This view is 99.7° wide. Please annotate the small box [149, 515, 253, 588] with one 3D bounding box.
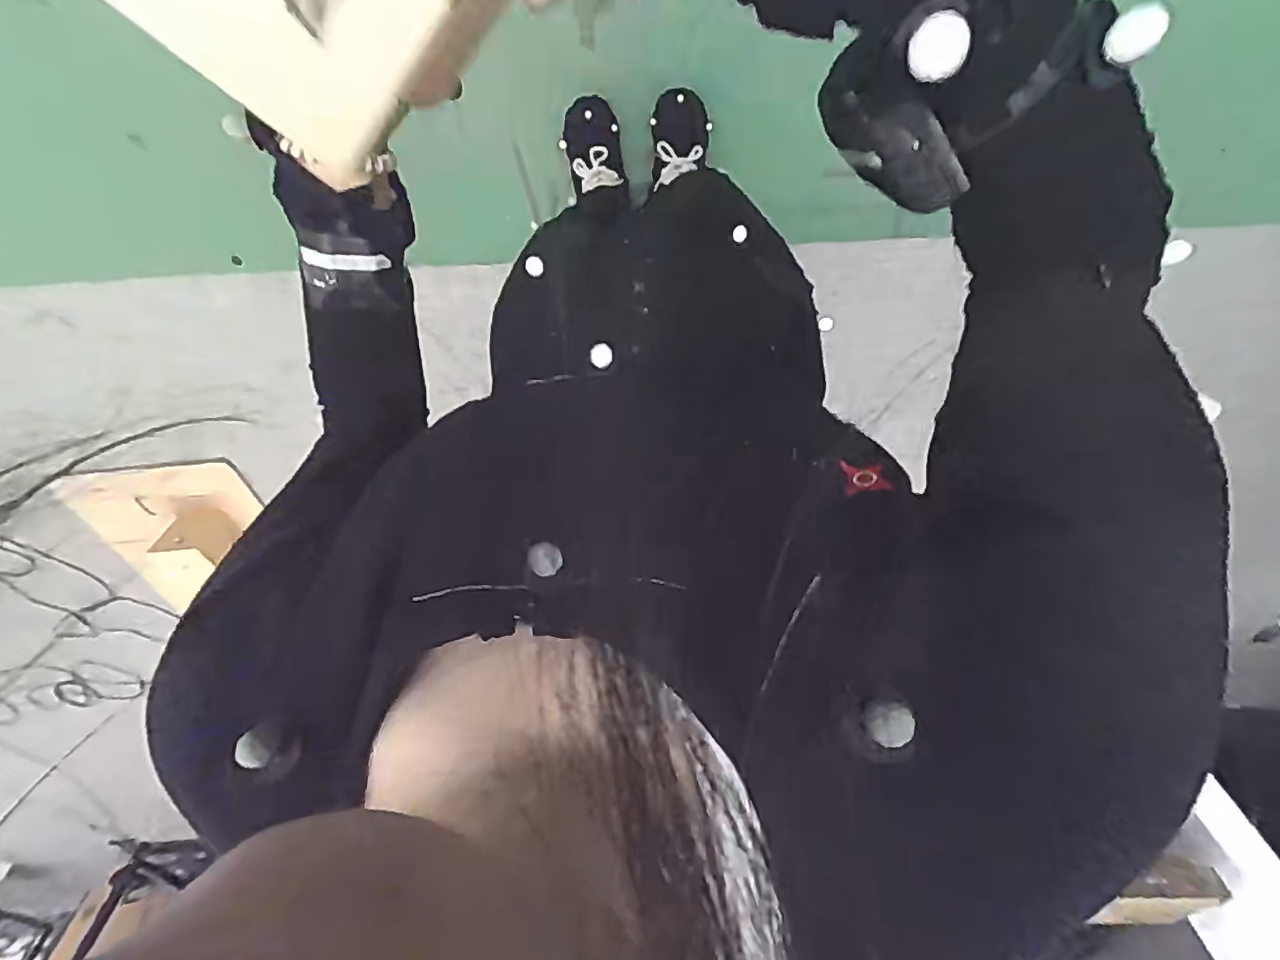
[{"bbox_3d":[-1.449,0.236,1.798,0.179,0.176,0.168,-7,129,2],"label":"small box"}]
